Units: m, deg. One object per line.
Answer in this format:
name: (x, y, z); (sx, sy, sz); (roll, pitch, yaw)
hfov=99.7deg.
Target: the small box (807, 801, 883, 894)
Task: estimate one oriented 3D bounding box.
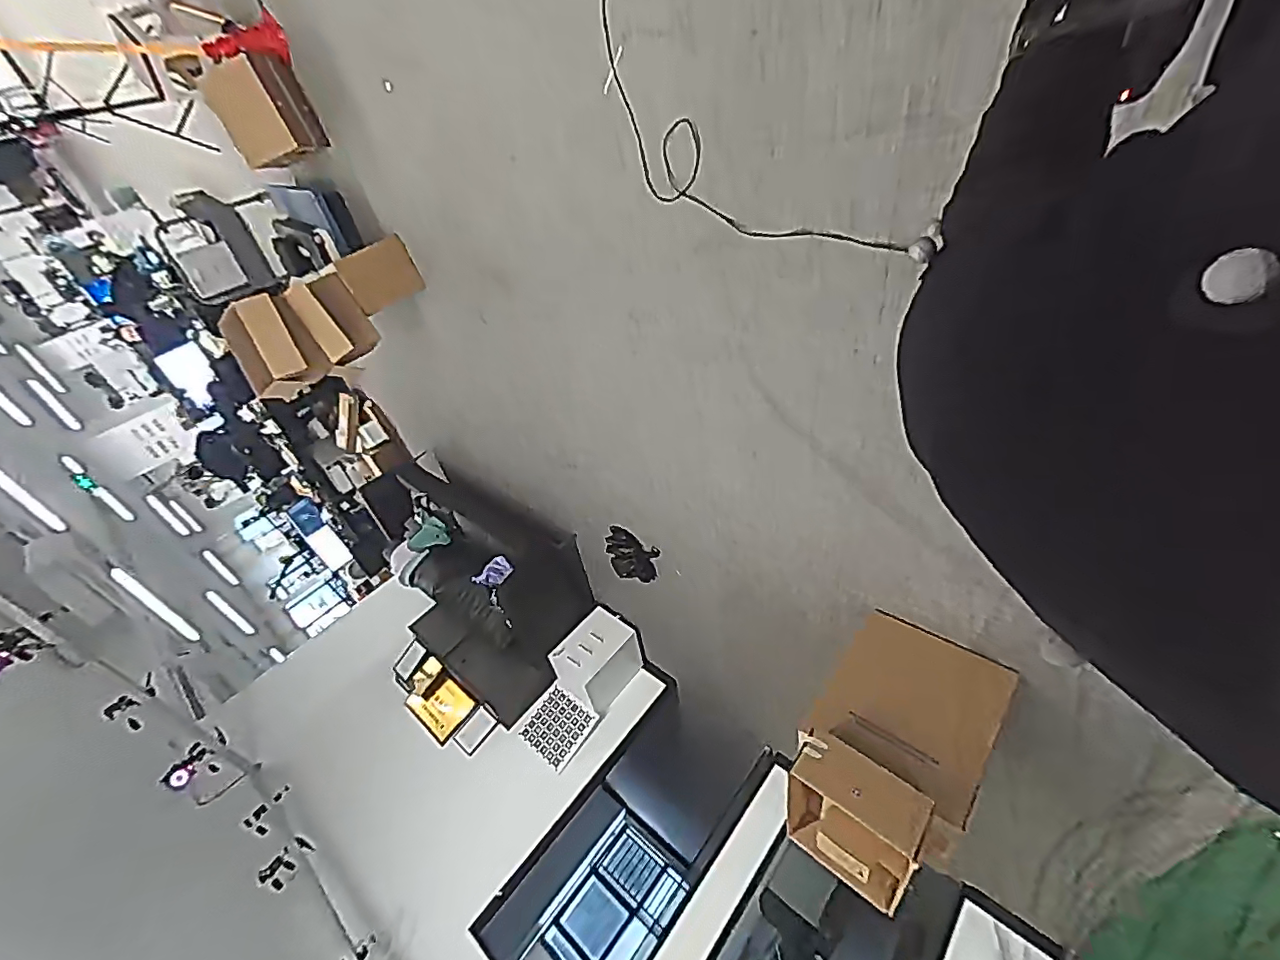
small box: (0.669, 1.193, 1.773); (0.179, 0.176, 0.168); (24, 142, 38)
